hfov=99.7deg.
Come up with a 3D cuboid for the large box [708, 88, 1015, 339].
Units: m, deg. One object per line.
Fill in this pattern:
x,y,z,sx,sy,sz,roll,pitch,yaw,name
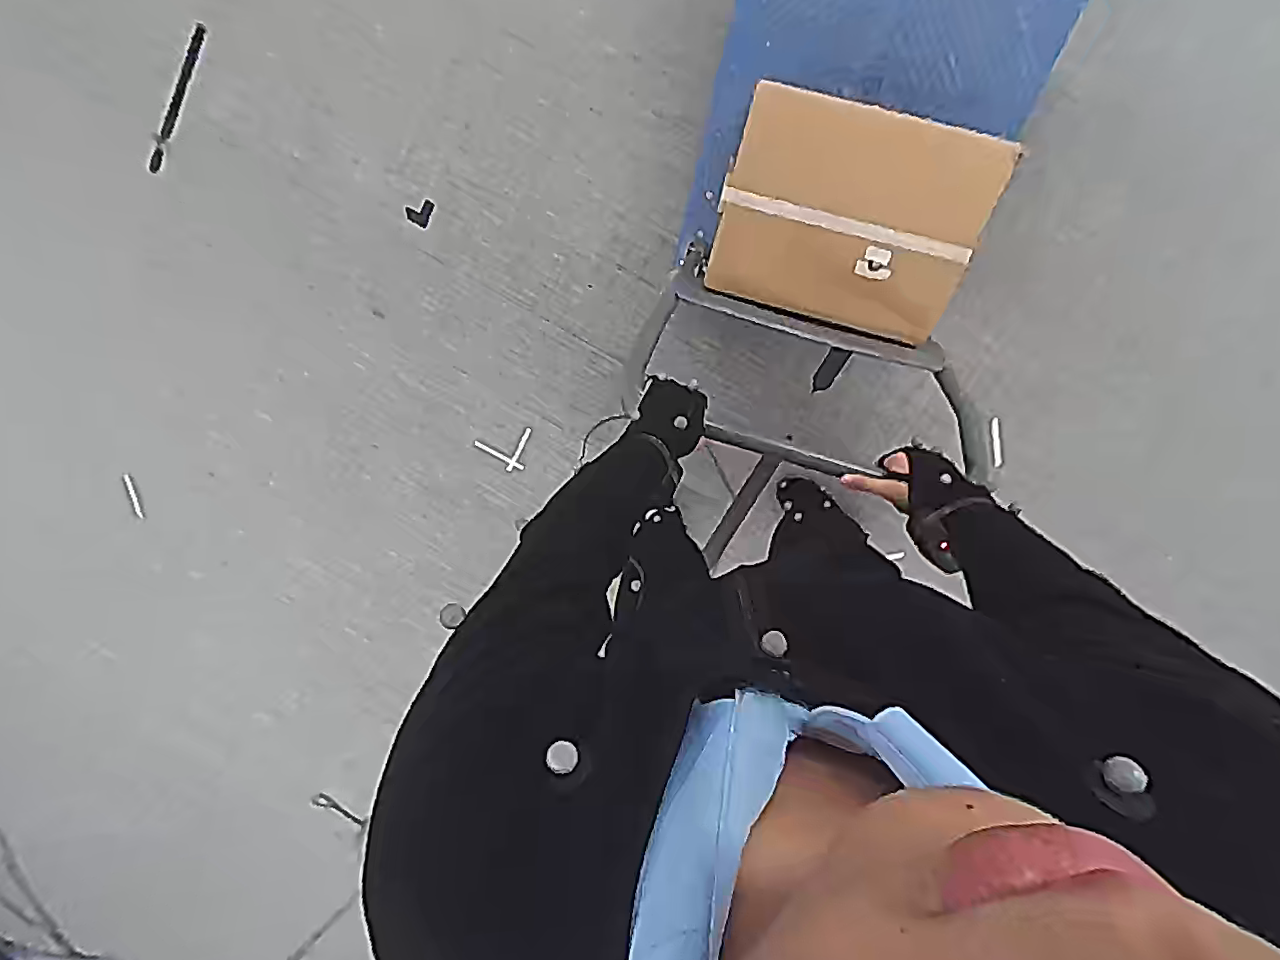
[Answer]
0.368,-0.500,1.022,0.408,0.320,0.320,16,123,3,large box
